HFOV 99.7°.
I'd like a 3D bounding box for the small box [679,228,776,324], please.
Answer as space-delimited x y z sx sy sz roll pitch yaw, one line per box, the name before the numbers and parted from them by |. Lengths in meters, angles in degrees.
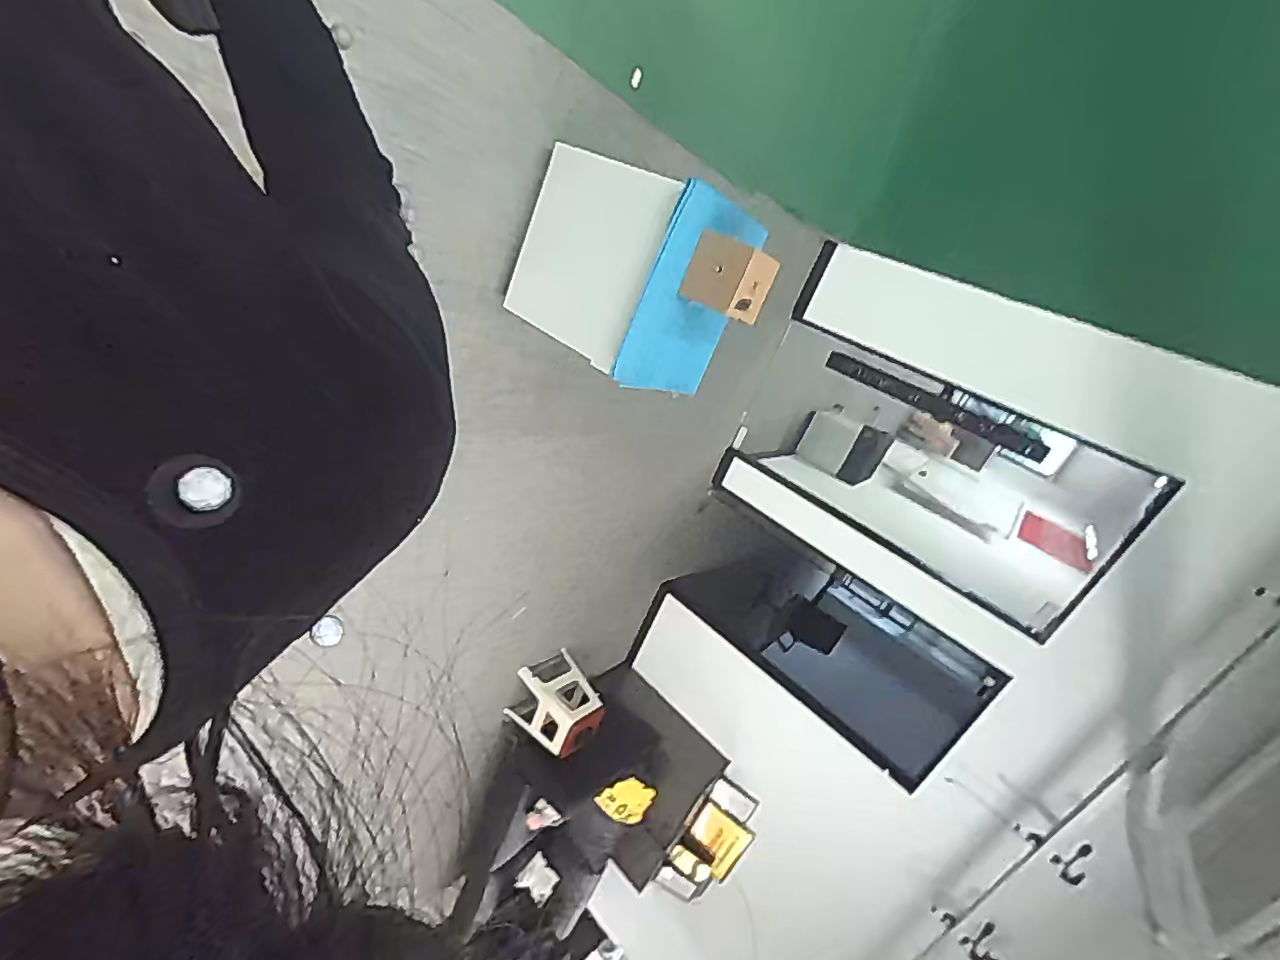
small box | 0.227 -0.544 1.449 0.168 0.176 0.179 -7 126 -54
